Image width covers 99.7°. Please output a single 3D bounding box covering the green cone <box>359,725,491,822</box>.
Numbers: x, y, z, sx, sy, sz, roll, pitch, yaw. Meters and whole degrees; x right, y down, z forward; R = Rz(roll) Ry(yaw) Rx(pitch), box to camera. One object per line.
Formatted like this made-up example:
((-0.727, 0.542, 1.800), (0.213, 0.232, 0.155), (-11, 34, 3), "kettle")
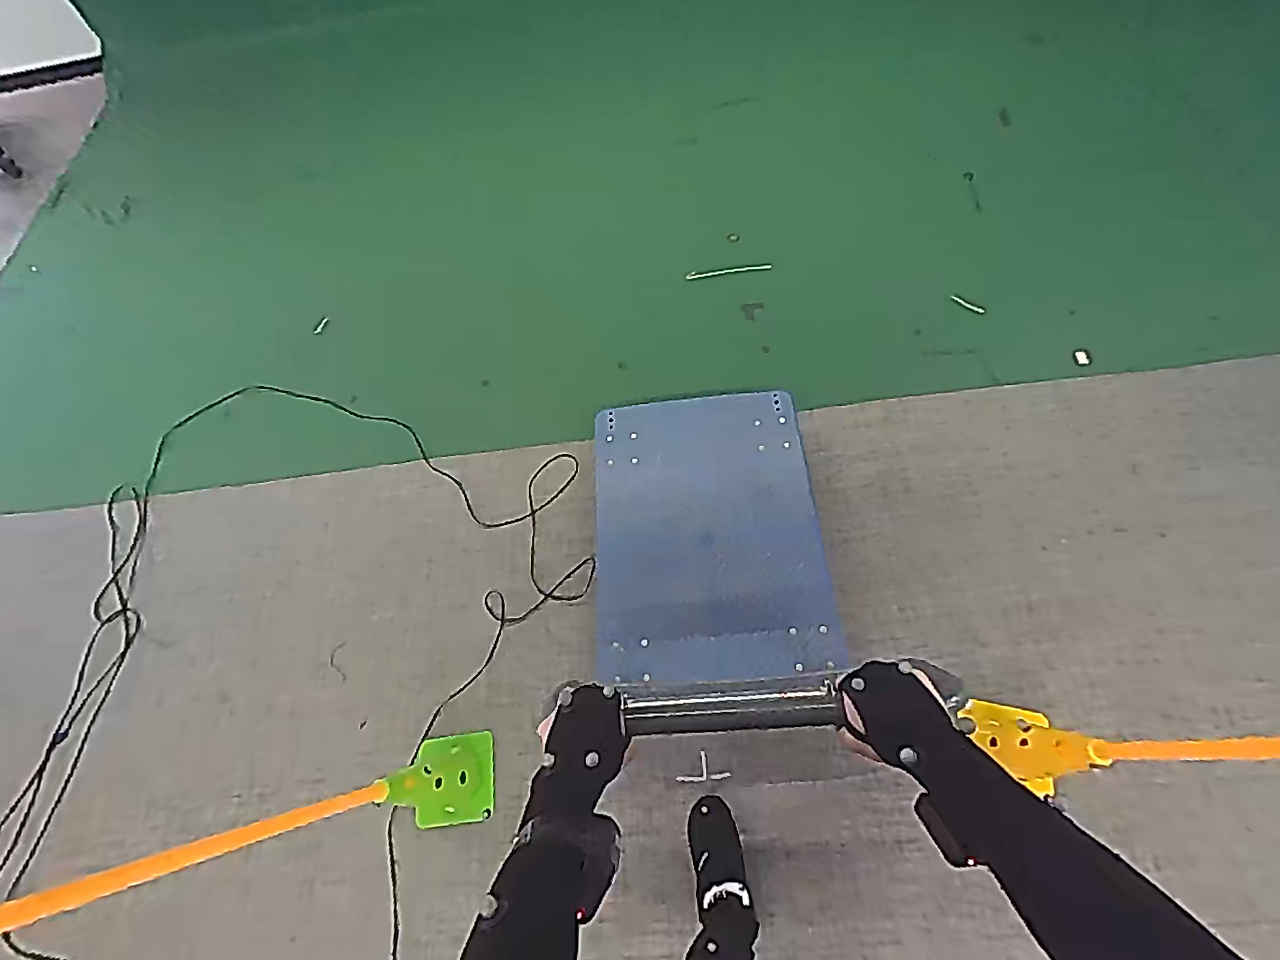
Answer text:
((-0.498, 0.665, 1.212), (0.202, 0.368, 0.200), (-11, 64, 4), "green cone")
